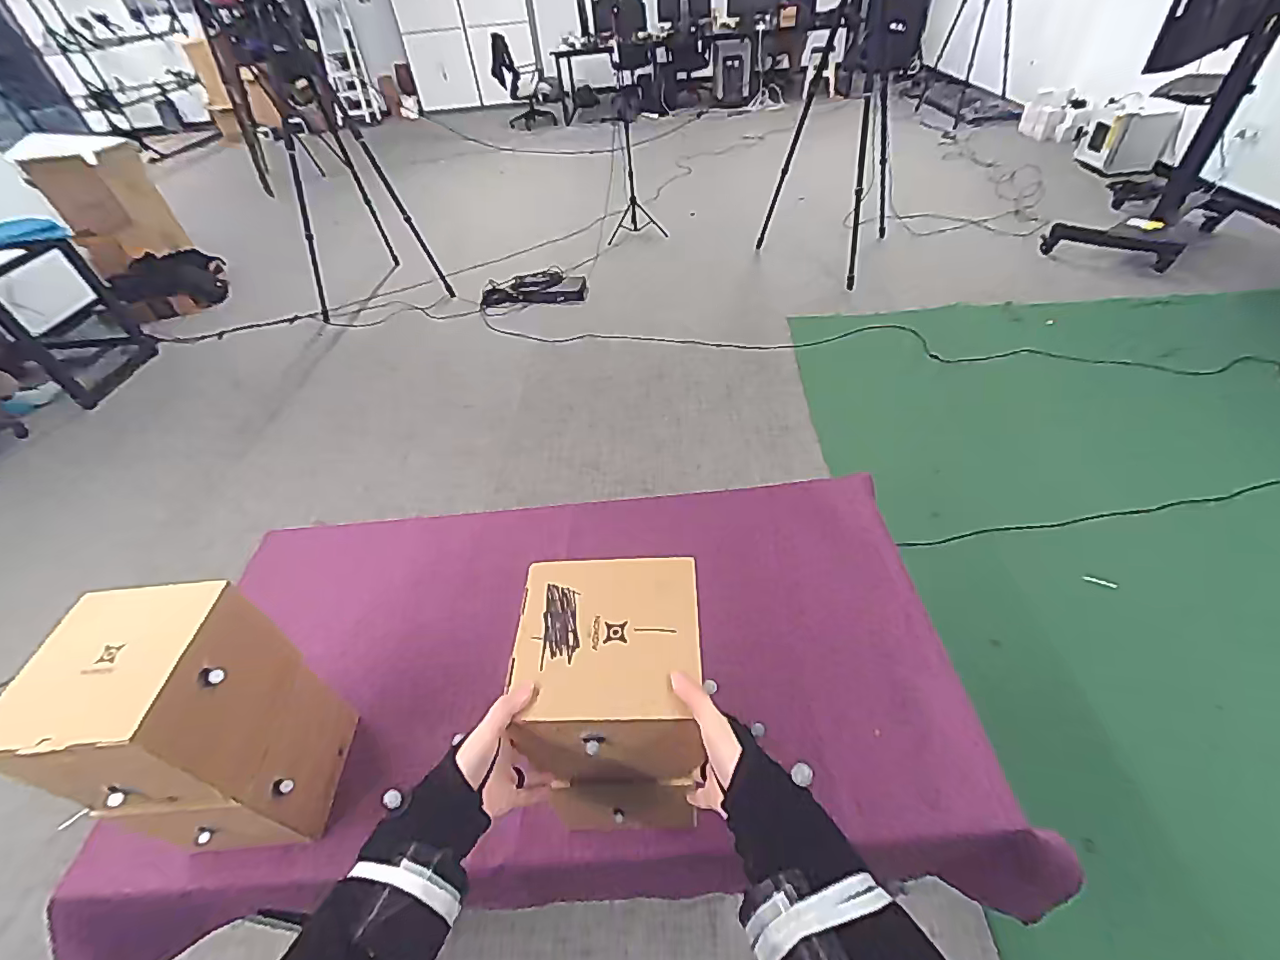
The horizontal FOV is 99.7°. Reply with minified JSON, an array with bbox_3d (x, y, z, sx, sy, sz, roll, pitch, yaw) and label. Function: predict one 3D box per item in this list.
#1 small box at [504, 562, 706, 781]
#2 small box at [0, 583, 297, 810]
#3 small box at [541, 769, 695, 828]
[{"bbox_3d":[-0.022,0.203,0.567,0.179,0.176,0.168,-2,46,4],"label":"small box"},{"bbox_3d":[-0.519,0.236,0.593,0.168,0.176,0.179,-5,45,2],"label":"small box"},{"bbox_3d":[-0.017,0.323,0.683,0.168,0.176,0.179,-3,44,3],"label":"small box"}]
